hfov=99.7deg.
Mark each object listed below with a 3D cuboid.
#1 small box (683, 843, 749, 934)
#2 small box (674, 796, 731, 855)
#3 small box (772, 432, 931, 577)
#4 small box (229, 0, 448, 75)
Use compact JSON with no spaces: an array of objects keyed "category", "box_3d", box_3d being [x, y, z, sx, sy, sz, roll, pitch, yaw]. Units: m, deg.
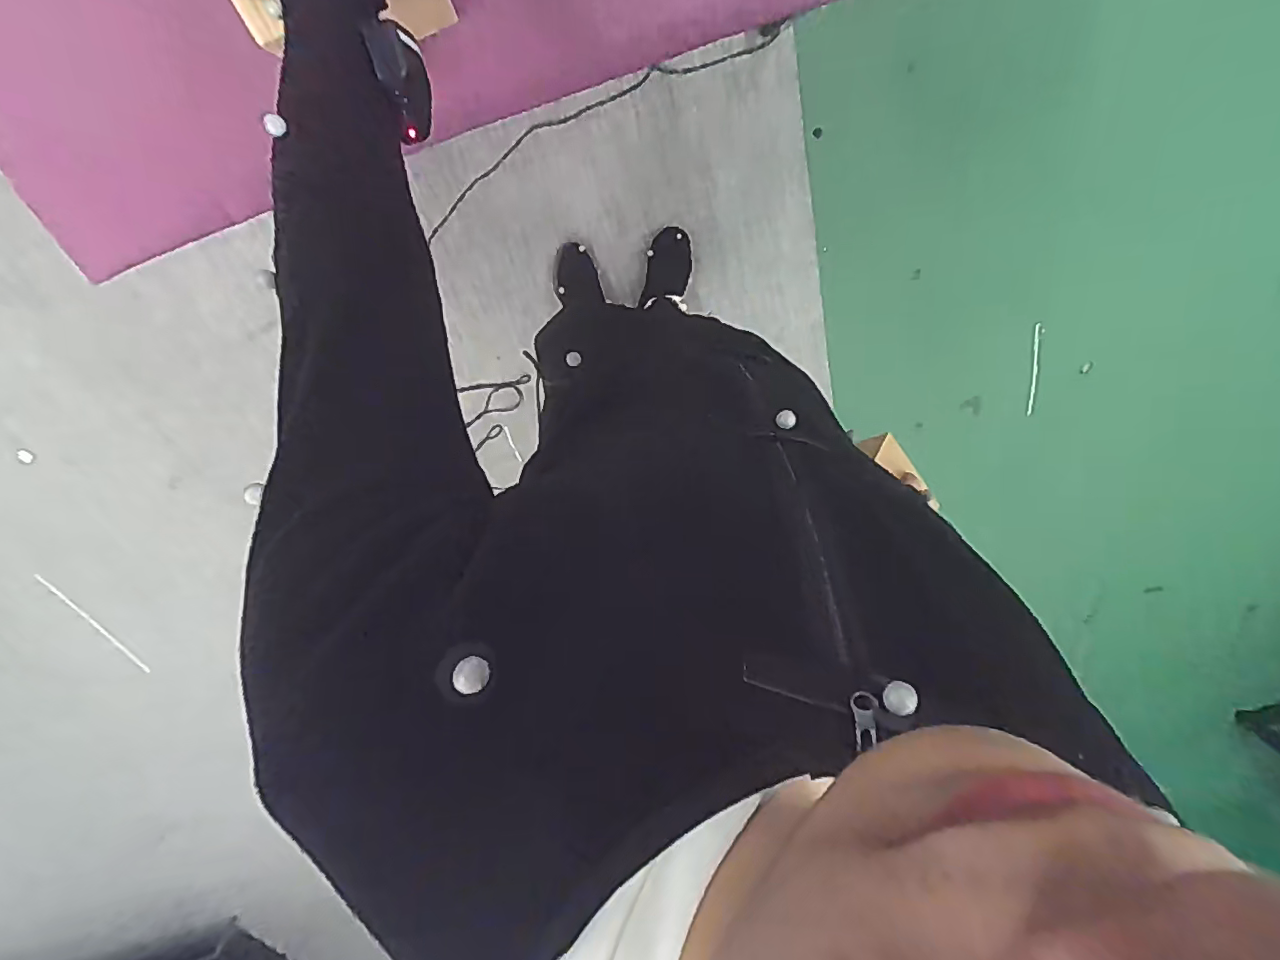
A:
[{"category":"small box","box_3d":[0.249,1.340,1.779,0.168,0.176,0.179,-16,118,1]},{"category":"small box","box_3d":[0.229,1.268,1.923,0.168,0.176,0.179,-16,118,0]},{"category":"small box","box_3d":[0.354,0.050,0.929,0.168,0.176,0.179,51,57,-12]},{"category":"small box","box_3d":[-0.304,-0.520,0.501,0.168,0.176,0.179,-21,119,4]}]
